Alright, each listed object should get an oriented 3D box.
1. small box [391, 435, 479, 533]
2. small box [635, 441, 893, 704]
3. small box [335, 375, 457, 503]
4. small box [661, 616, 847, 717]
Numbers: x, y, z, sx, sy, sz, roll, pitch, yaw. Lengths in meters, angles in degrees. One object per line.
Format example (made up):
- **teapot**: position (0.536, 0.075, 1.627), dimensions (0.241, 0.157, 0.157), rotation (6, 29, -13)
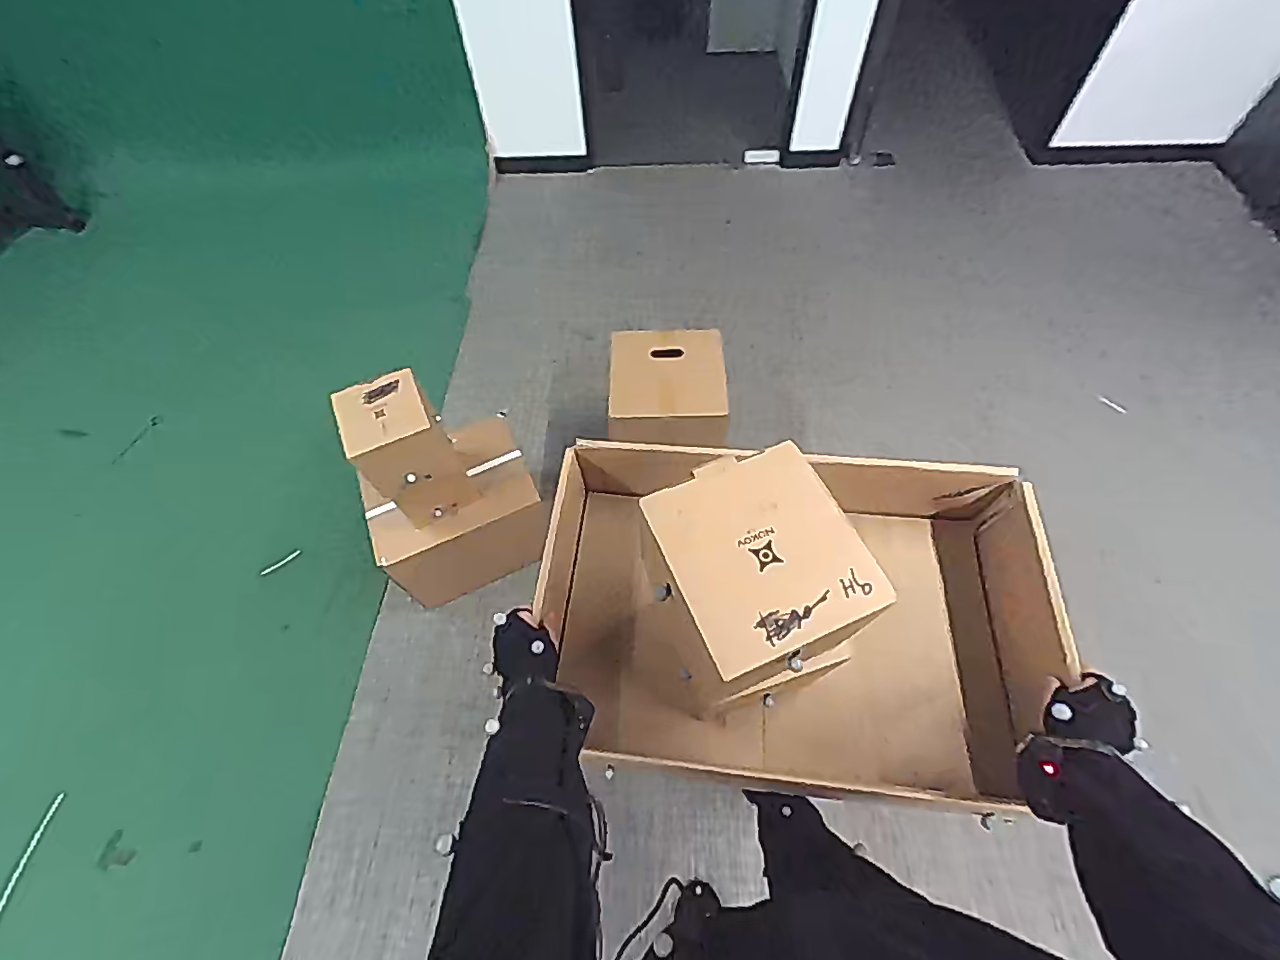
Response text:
- **small box**: position (-0.509, -0.005, 1.288), dimensions (0.168, 0.176, 0.179), rotation (-28, 61, -14)
- **small box**: position (0.102, 0.097, 0.536), dimensions (0.168, 0.176, 0.179), rotation (-21, 61, -10)
- **small box**: position (-0.510, -0.083, 1.143), dimensions (0.168, 0.176, 0.179), rotation (-23, 61, -11)
- **small box**: position (0.124, 0.182, 0.675), dimensions (0.168, 0.176, 0.179), rotation (-16, 60, -8)
